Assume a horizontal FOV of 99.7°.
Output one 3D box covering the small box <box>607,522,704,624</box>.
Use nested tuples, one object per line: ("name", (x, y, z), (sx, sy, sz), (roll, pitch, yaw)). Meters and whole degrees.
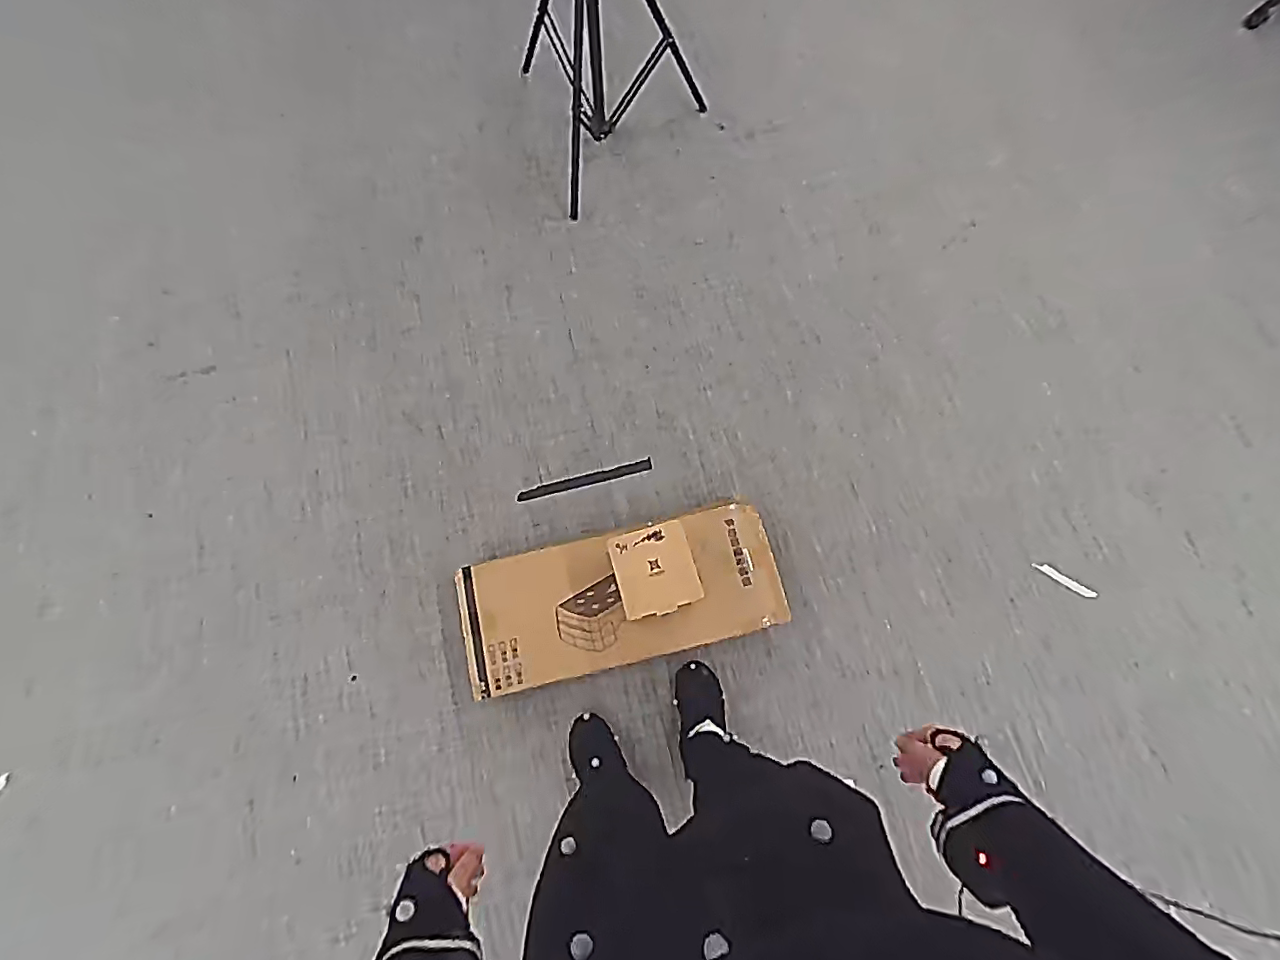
("small box", (0.031, 0.208, 1.184), (0.168, 0.176, 0.179), (-15, 76, -5))
